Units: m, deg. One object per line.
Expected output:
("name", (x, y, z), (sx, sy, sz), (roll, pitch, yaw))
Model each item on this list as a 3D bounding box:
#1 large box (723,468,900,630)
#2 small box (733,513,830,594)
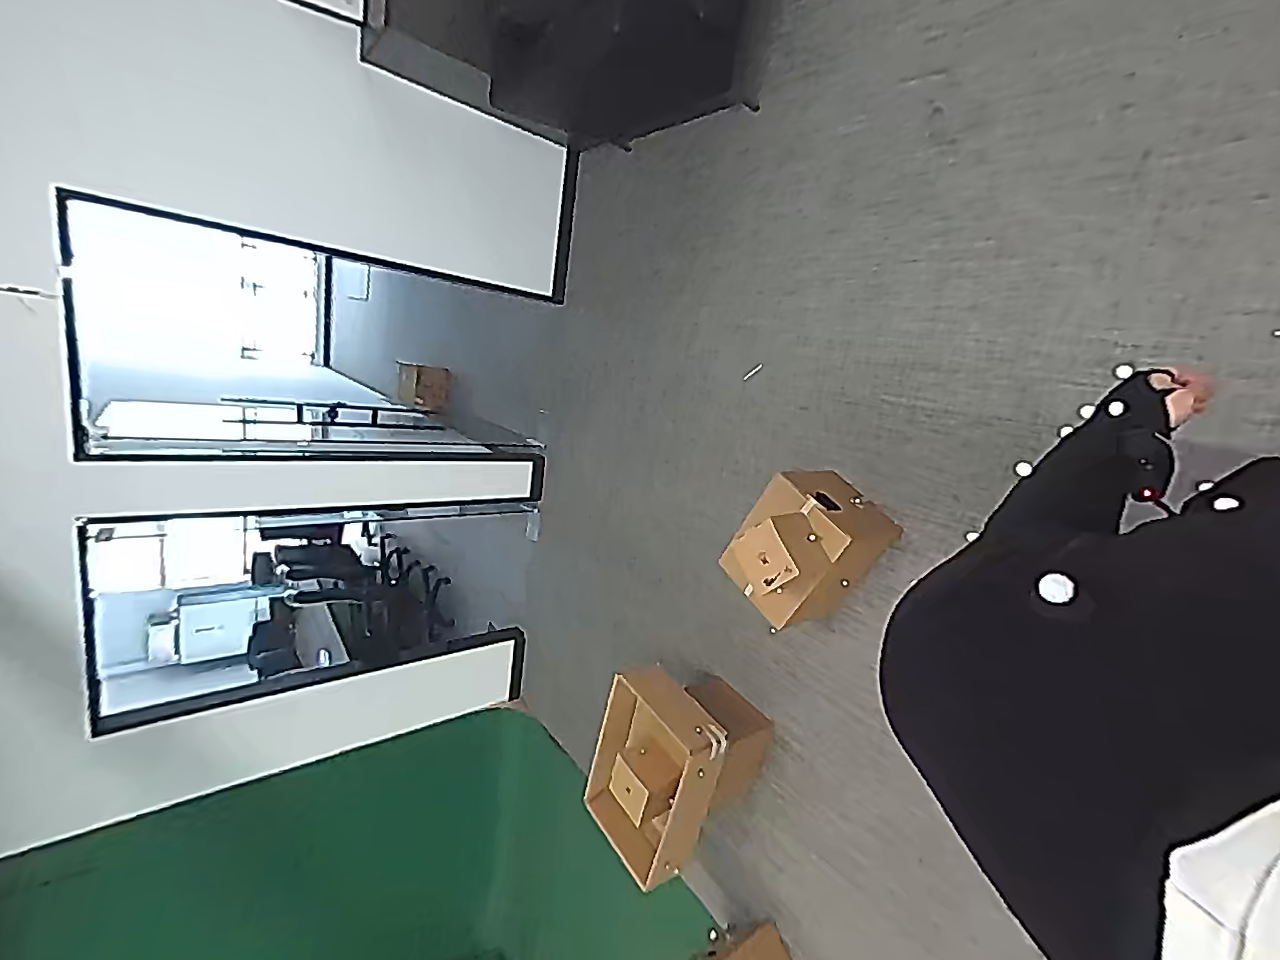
("large box", (0.546, 0.210, 1.755), (0.320, 0.320, 0.408), (51, 128, 37))
("small box", (0.404, 0.205, 1.542), (0.168, 0.176, 0.179), (-44, 60, 41))
